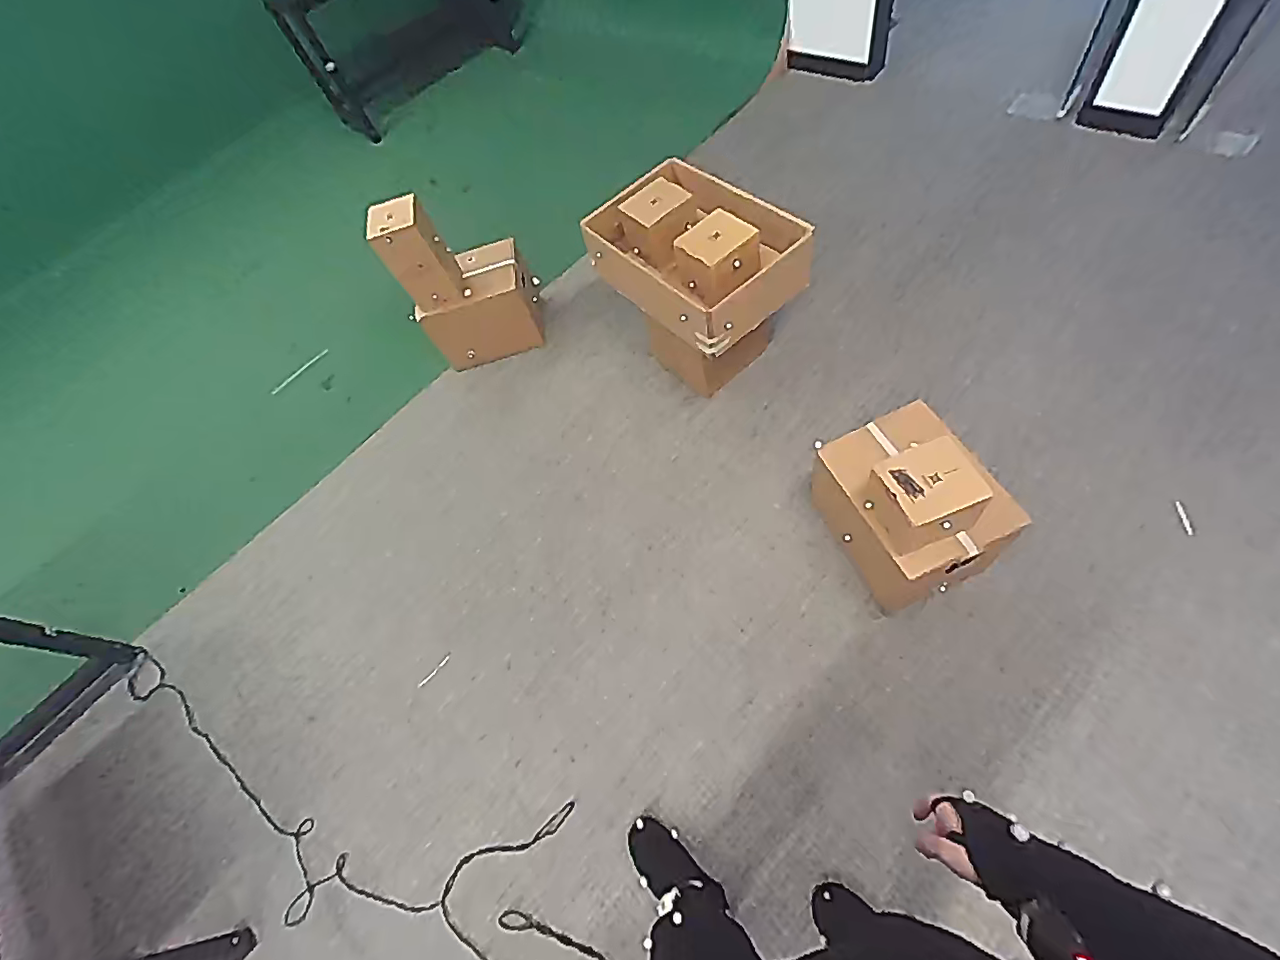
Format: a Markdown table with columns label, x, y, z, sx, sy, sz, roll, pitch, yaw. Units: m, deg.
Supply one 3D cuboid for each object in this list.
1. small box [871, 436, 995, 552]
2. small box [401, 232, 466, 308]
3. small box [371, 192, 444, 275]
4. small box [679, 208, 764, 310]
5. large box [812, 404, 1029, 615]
| label | x | y | z | sx | sy | sz | roll | pitch | yaw |
| --- | --- | --- | --- | --- | --- | --- | --- | --- | --- |
| small box | 0.633 | 0.037 | 1.200 | 0.179 | 0.176 | 0.168 | -22 | 59 | 2 |
| small box | -0.755 | -0.769 | 1.990 | 0.168 | 0.176 | 0.179 | -15 | 60 | 5 |
| small box | -0.786 | -0.837 | 1.844 | 0.168 | 0.176 | 0.179 | -15 | 59 | 5 |
| small box | 0.236 | -0.629 | 1.548 | 0.179 | 0.176 | 0.168 | -39 | 60 | -7 |
| large box | 0.705 | 0.085 | 1.445 | 0.320 | 0.320 | 0.408 | -25 | 58 | -1 |
